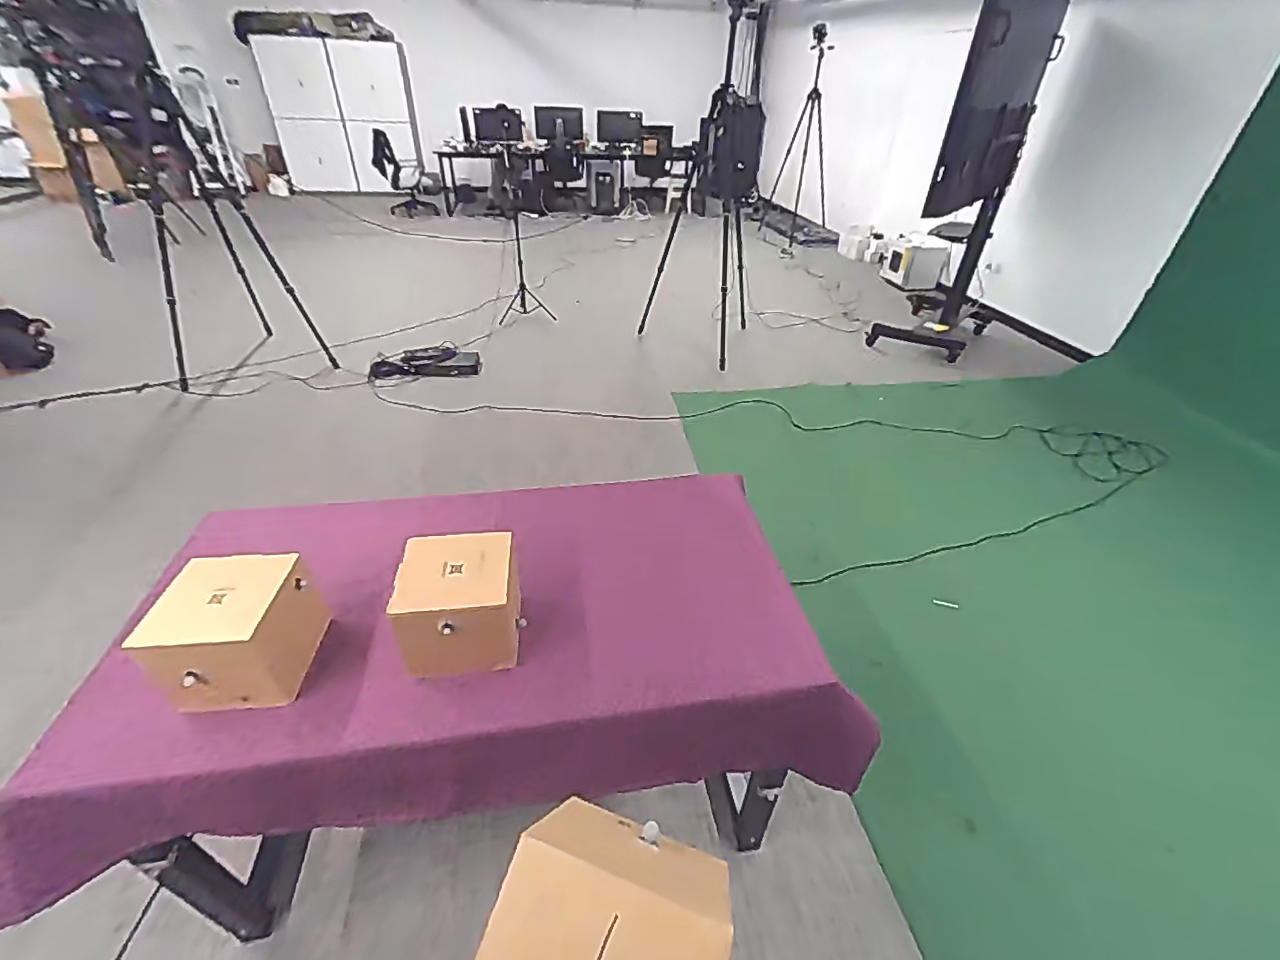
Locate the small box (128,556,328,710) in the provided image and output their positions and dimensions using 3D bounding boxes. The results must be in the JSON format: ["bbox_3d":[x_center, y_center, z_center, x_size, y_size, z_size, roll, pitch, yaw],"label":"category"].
[{"bbox_3d":[-0.627,0.244,0.856,0.168,0.176,0.179,-2,35,-5],"label":"small box"}]

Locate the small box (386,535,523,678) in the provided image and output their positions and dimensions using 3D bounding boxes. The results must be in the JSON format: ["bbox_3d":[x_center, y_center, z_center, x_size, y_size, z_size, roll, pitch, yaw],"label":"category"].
[{"bbox_3d":[-0.298,0.213,0.911,0.179,0.176,0.168,-3,37,-7],"label":"small box"}]

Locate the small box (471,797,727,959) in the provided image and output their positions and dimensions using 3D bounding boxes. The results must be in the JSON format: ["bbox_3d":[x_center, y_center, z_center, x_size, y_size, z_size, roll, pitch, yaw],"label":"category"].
[{"bbox_3d":[-0.033,0.388,0.438,0.168,0.176,0.179,16,69,13],"label":"small box"}]
